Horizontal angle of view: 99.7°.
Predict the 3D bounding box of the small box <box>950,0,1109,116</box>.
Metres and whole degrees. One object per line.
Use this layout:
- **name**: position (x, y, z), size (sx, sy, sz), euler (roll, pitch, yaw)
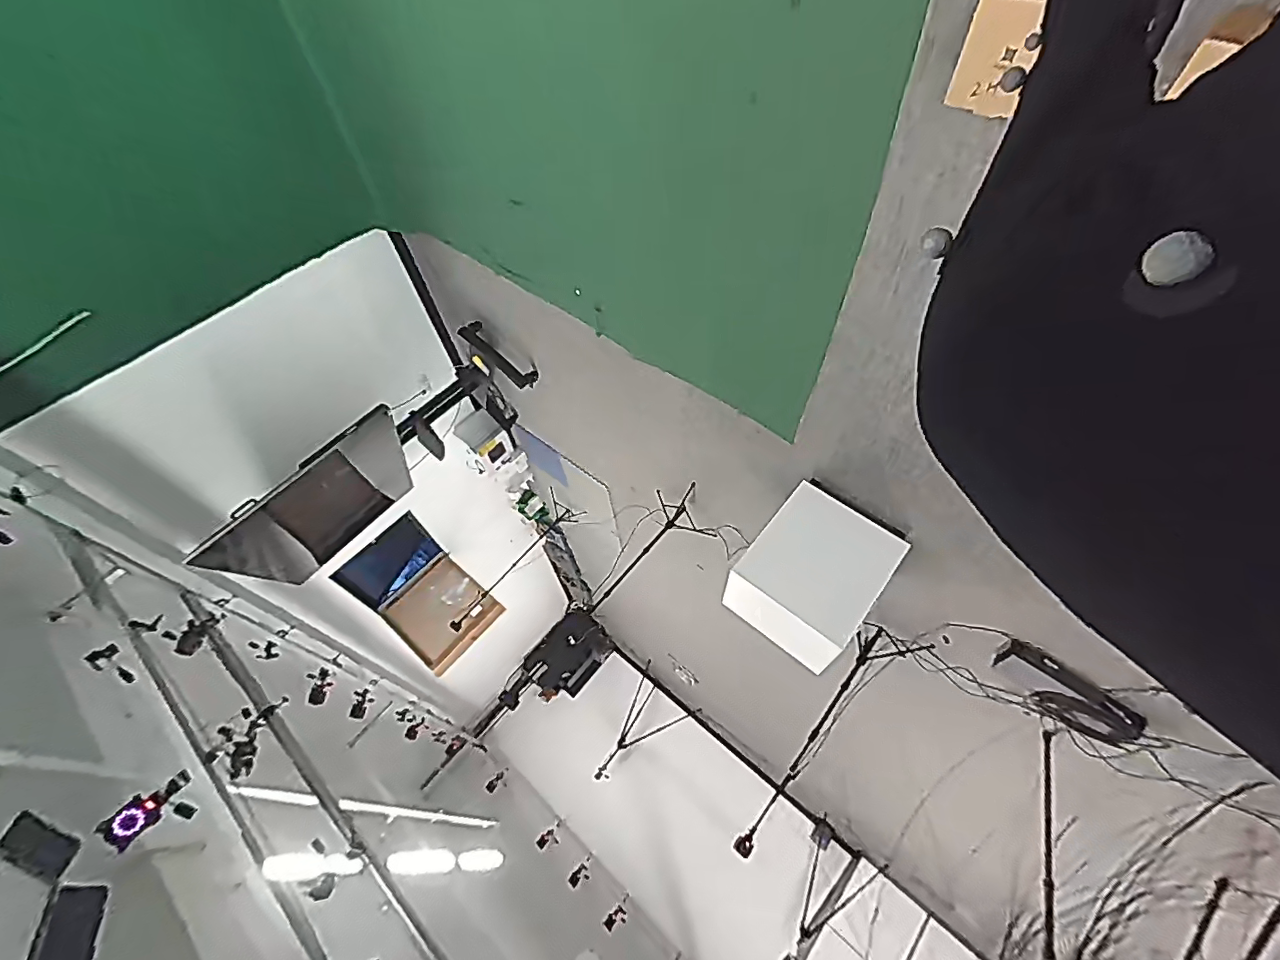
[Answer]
- **small box**: position (0.712, -0.809, 0.985), size (0.168, 0.176, 0.179), euler (35, 155, 24)
